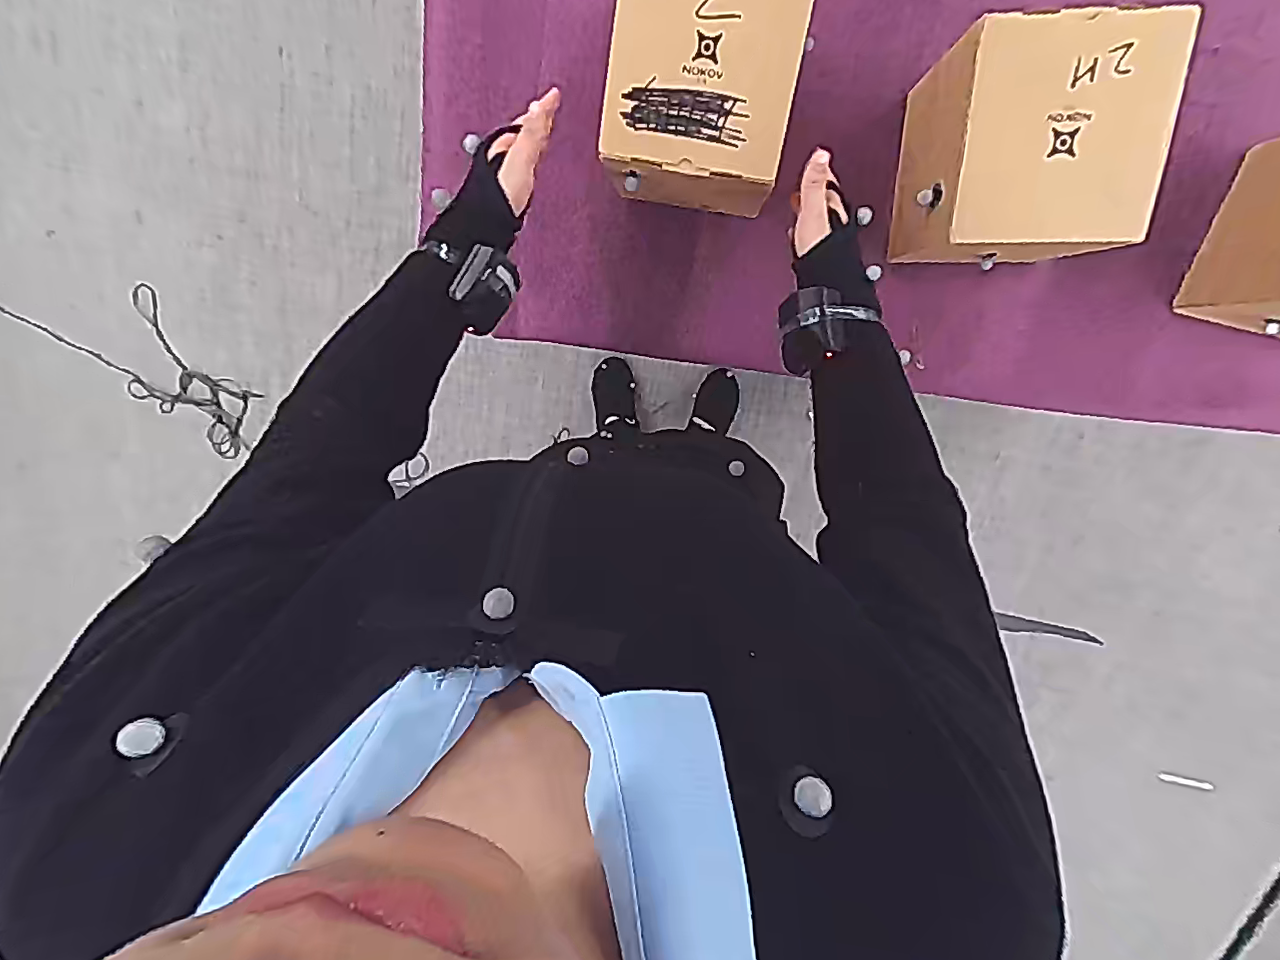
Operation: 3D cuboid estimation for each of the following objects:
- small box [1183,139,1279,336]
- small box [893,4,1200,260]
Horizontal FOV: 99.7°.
[{"bbox_3d":[0.703,-0.240,0.521,0.168,0.176,0.179,15,106,2],"label":"small box"},{"bbox_3d":[0.367,-0.316,0.532,0.168,0.176,0.179,2,106,5],"label":"small box"}]
